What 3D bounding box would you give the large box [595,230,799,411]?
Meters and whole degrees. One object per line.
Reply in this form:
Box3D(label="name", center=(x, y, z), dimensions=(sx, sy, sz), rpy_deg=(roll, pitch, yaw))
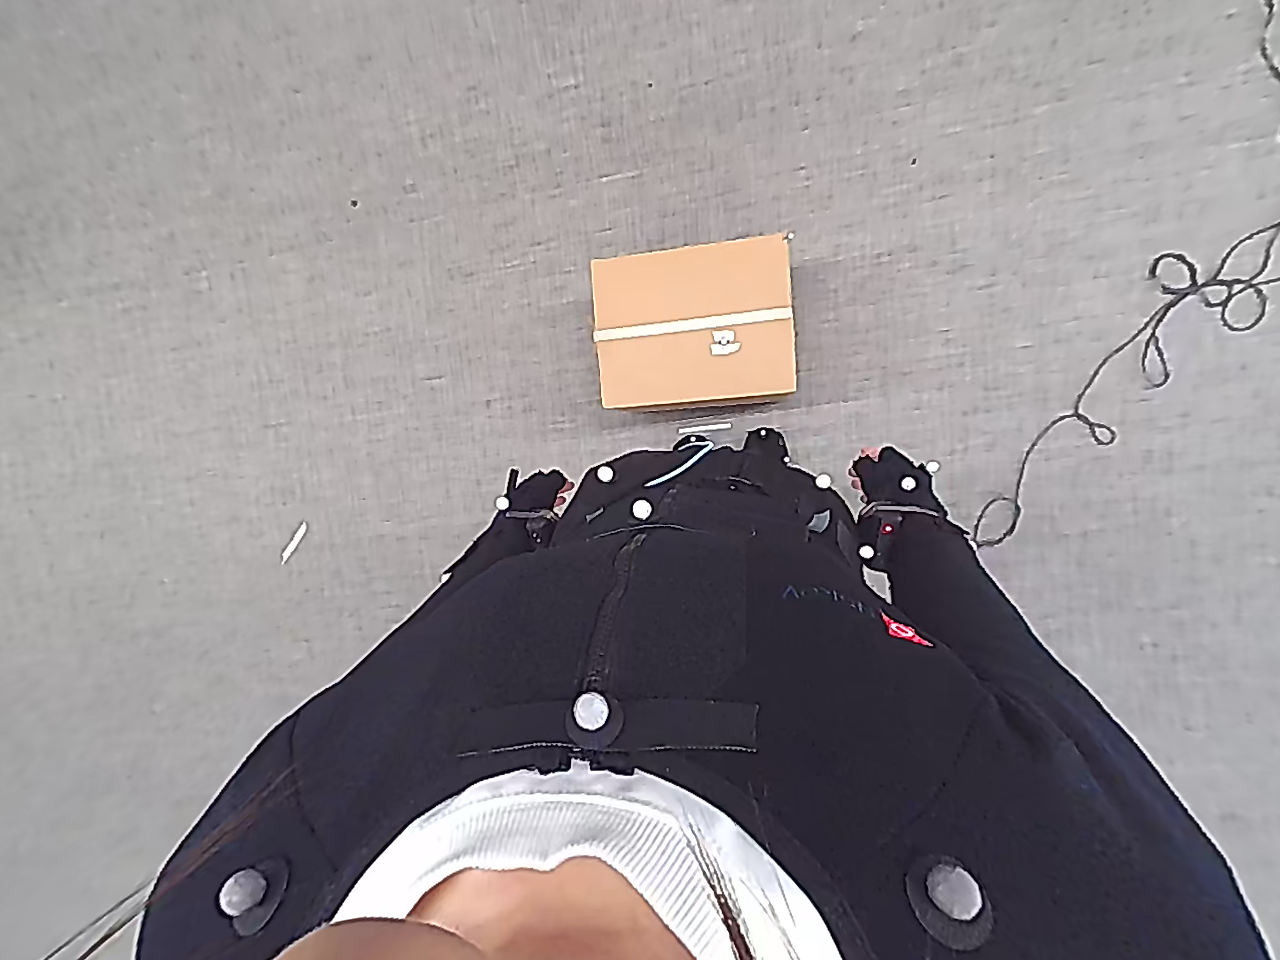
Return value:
Box3D(label="large box", center=(0.137, -0.339, 1.256), dimensions=(0.408, 0.320, 0.320), rpy_deg=(-4, 95, 11))
